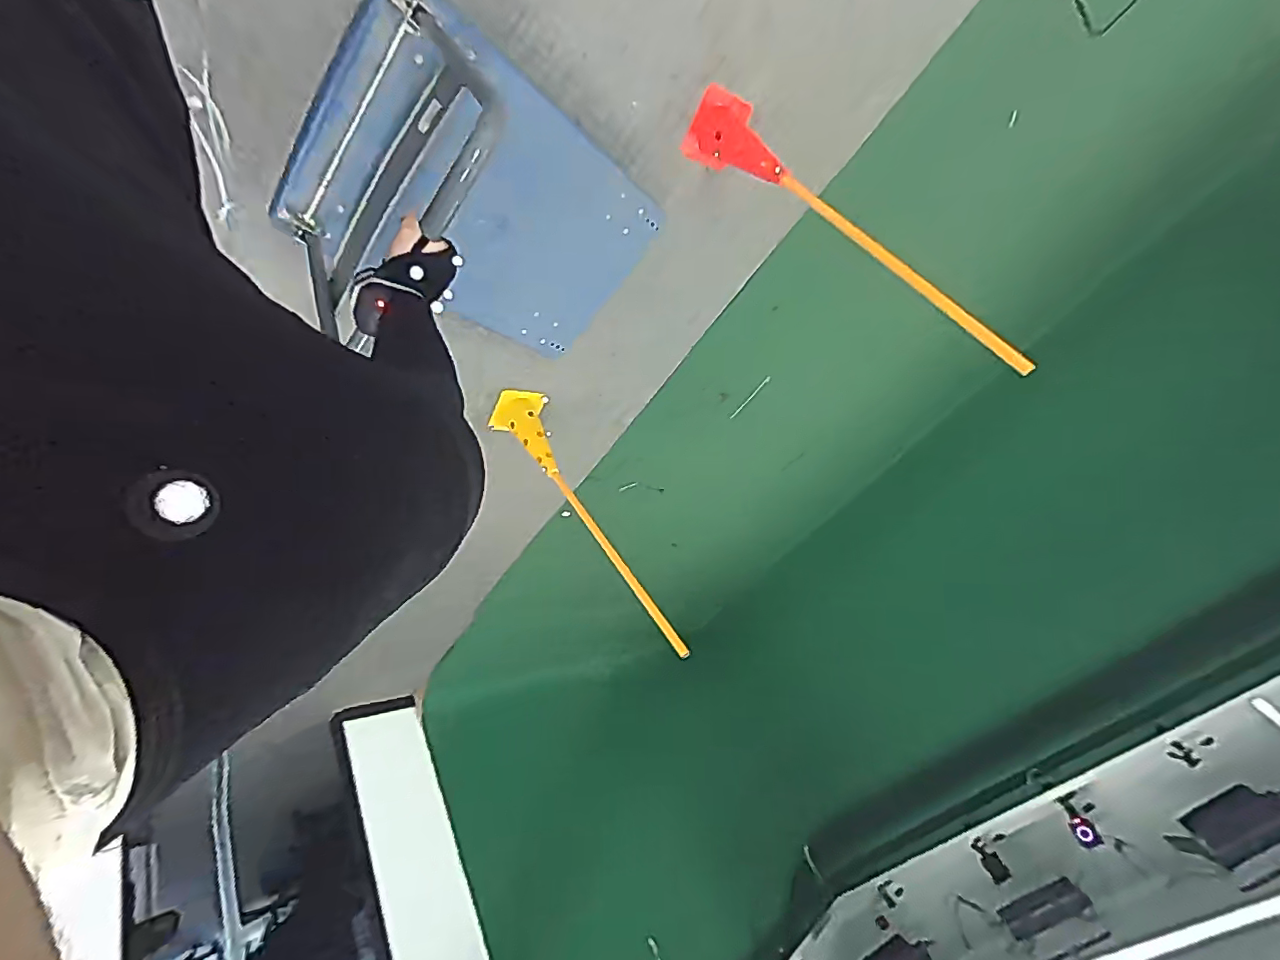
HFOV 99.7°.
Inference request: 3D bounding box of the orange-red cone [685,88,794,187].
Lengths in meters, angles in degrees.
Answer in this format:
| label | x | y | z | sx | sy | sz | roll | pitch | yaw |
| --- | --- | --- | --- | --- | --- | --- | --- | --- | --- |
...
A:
| label | x | y | z | sx | sy | sz | roll | pitch | yaw |
| --- | --- | --- | --- | --- | --- | --- | --- | --- | --- |
| orange-red cone | 0.328 | -0.961 | 1.591 | 0.198 | 0.360 | 0.199 | -5 | 138 | -40 |
